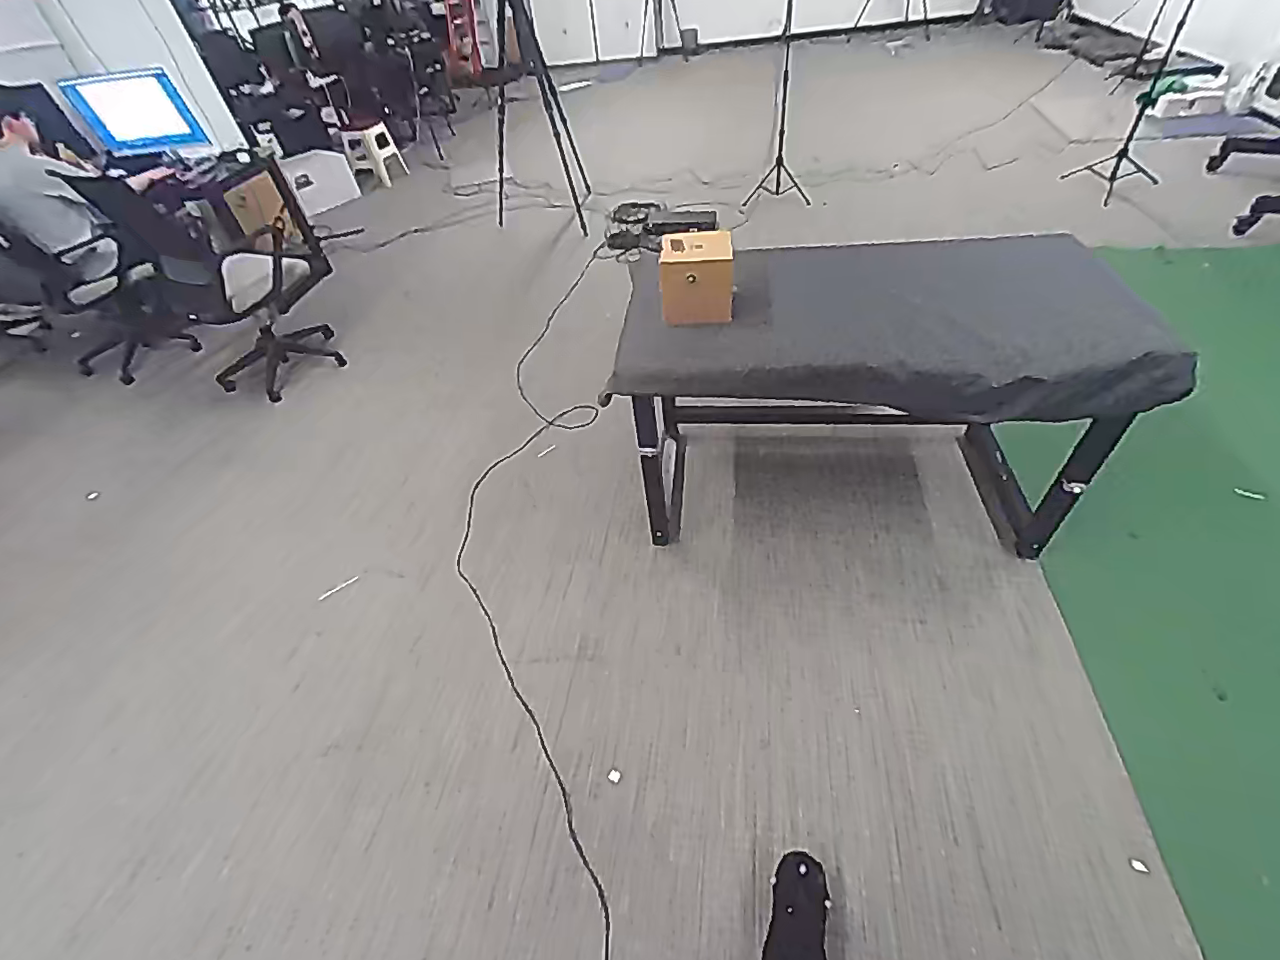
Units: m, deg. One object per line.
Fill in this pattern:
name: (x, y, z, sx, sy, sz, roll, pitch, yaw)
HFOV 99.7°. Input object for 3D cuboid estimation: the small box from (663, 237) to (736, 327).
small box: (0.155, -0.505, 1.391, 0.179, 0.176, 0.168, 0, 46, 7)
